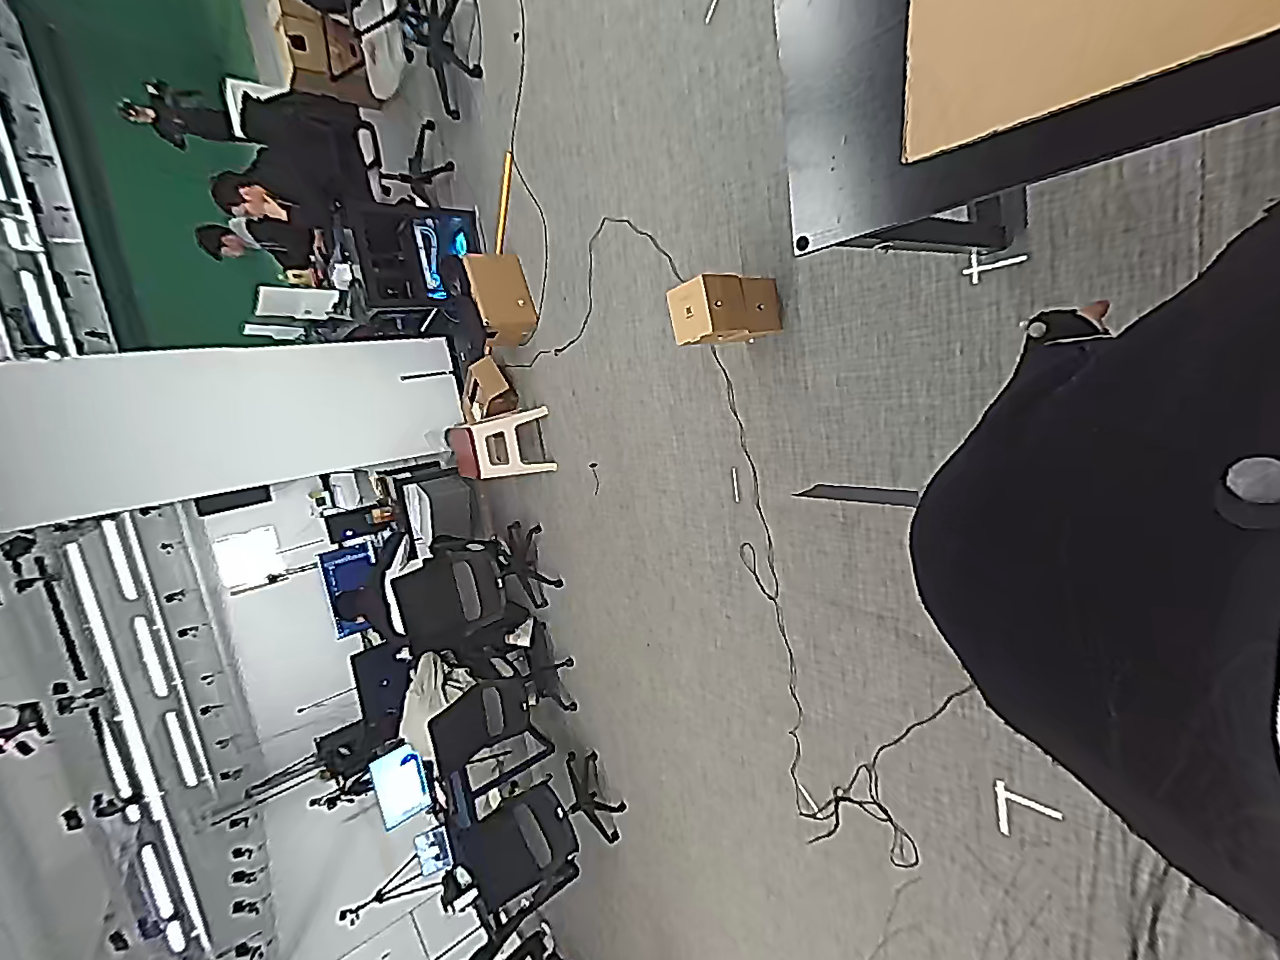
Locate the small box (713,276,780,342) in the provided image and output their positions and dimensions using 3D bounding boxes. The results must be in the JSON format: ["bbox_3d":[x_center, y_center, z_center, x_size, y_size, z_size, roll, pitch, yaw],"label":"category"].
[{"bbox_3d":[0.342,-0.563,1.794,0.168,0.176,0.179,-1,102,53],"label":"small box"}]

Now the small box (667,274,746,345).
[{"bbox_3d":[0.214,-0.534,1.699,0.168,0.176,0.179,-6,96,53],"label":"small box"}]
